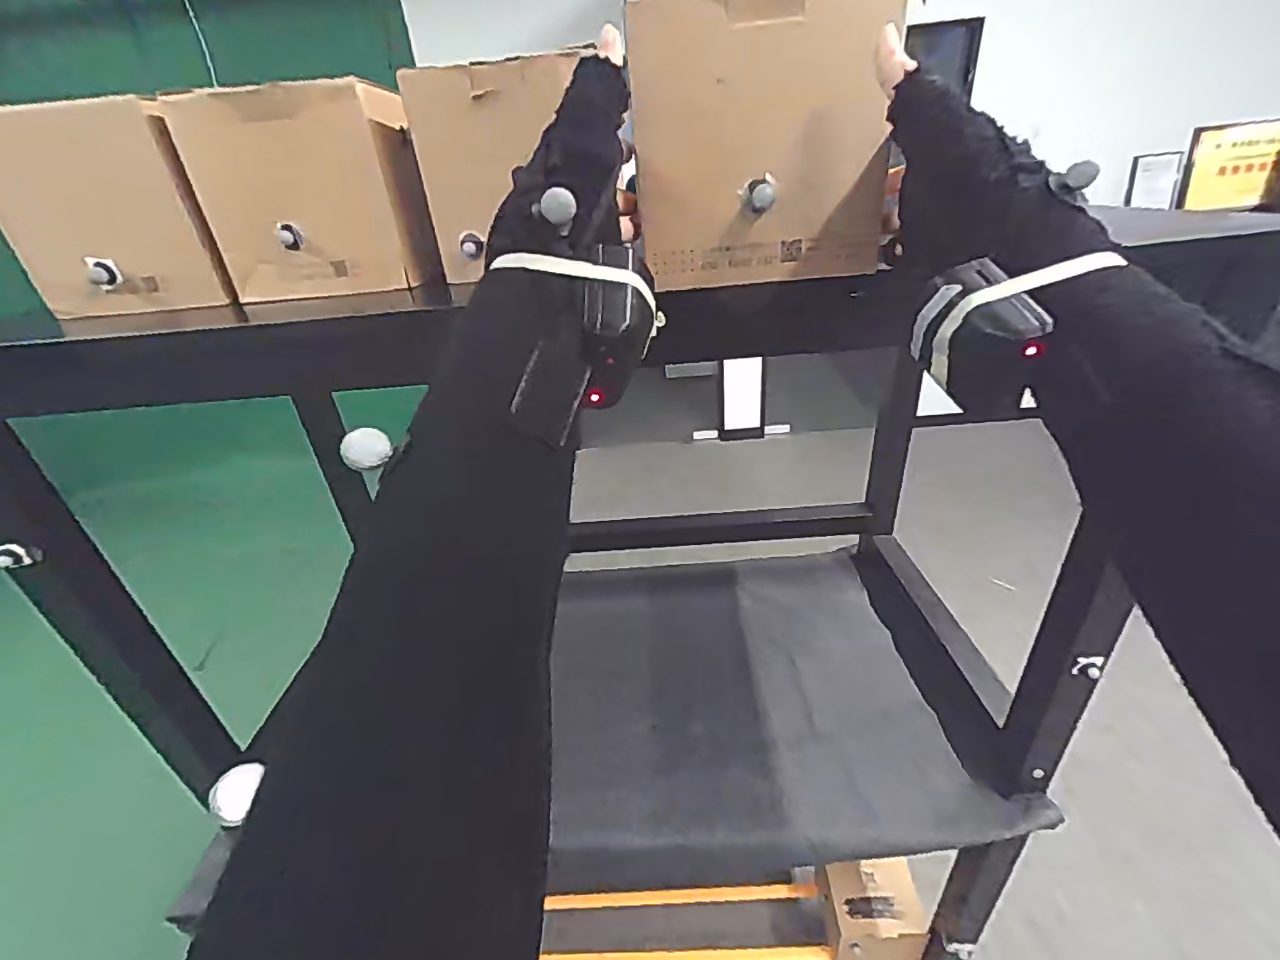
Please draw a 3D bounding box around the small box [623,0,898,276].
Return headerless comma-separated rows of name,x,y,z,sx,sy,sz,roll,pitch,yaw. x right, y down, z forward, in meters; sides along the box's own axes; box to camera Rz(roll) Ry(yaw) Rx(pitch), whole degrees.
small box,0.079,-0.261,0.427,0.168,0.176,0.179,-4,28,4
